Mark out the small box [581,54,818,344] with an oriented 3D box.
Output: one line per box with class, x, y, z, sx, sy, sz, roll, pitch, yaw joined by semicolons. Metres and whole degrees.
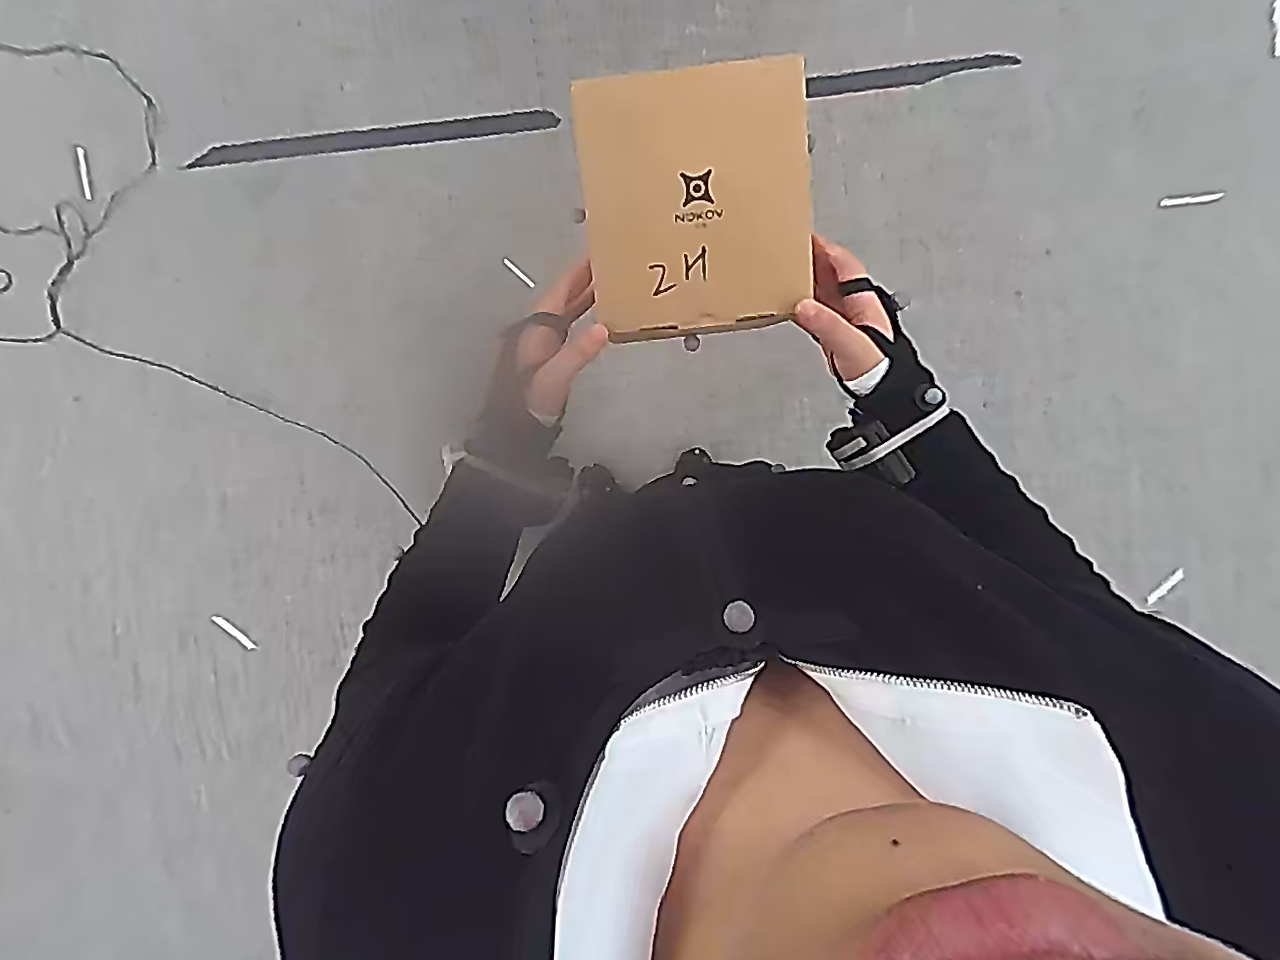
small box;0.045;-0.220;0.472;0.168;0.176;0.179;-6;101;2
